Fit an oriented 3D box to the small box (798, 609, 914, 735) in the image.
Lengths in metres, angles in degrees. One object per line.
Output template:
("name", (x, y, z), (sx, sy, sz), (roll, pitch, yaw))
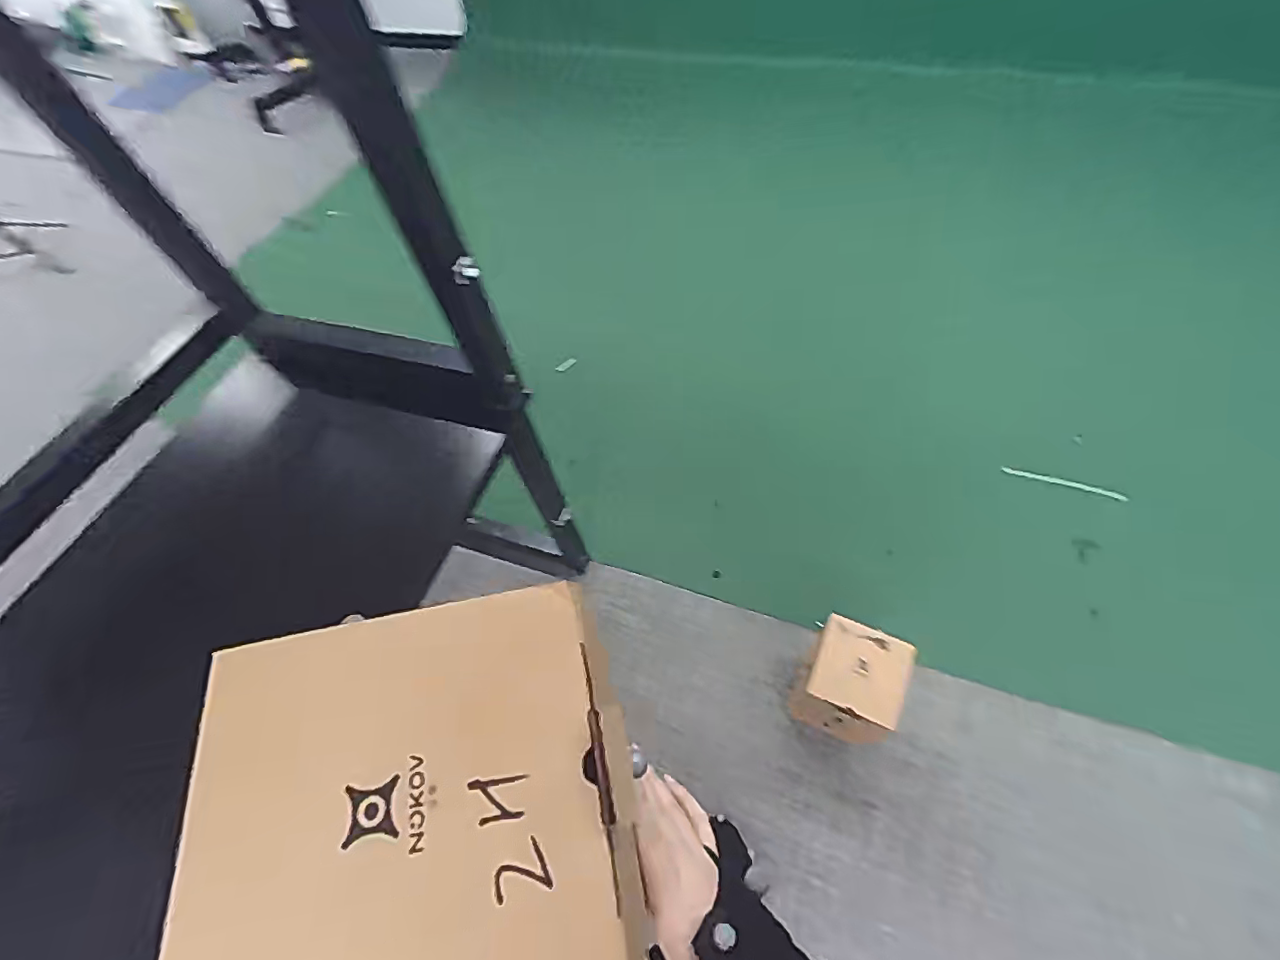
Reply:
("small box", (0.433, 0.398, 1.106), (0.168, 0.176, 0.179), (20, 63, 18))
